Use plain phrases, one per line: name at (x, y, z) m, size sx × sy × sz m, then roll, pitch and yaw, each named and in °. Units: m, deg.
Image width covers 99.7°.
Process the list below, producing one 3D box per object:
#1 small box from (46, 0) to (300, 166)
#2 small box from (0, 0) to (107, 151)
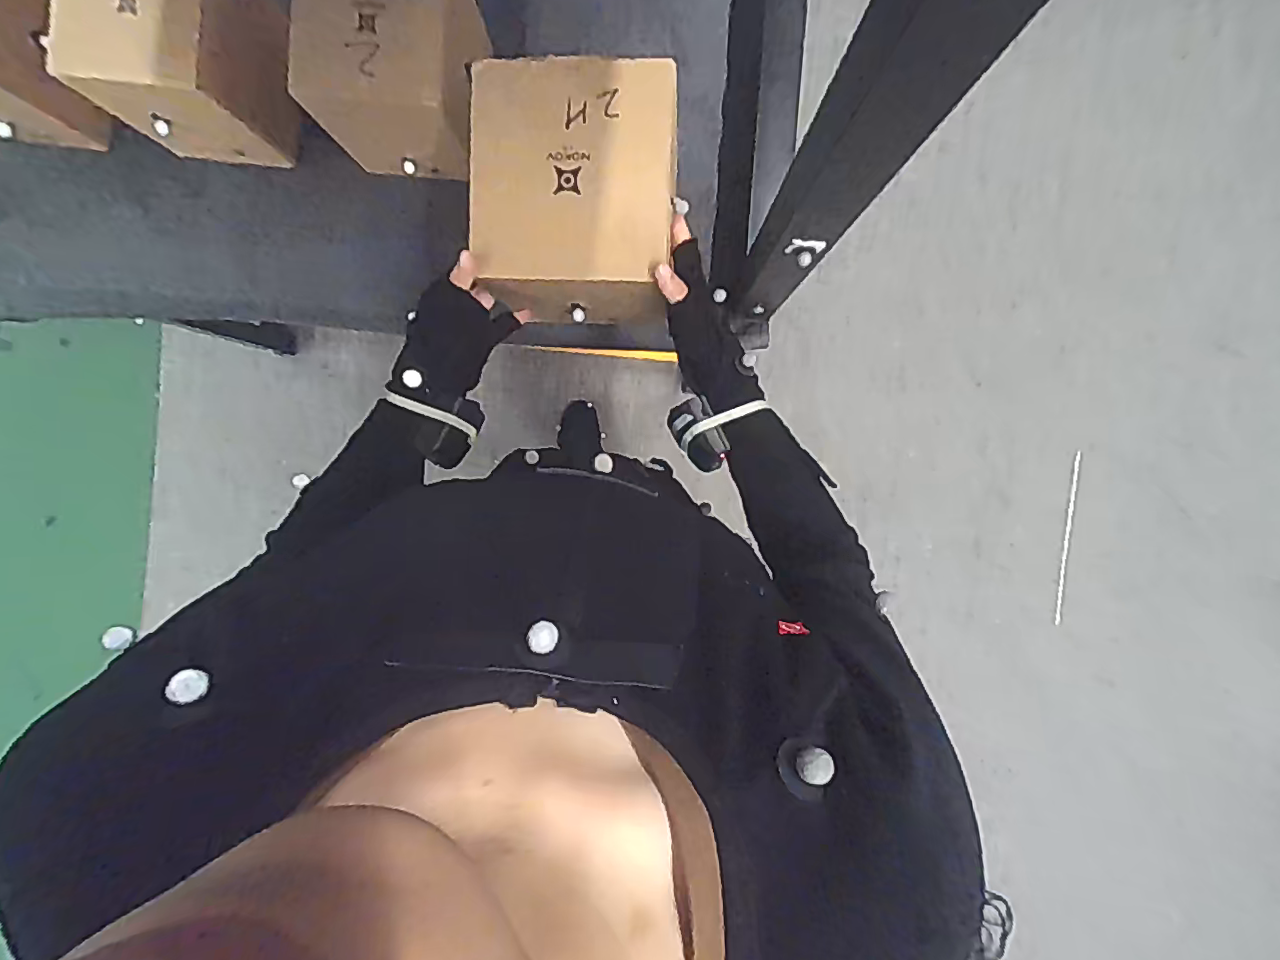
small box at (-0.546, -0.515, 0.656) m, size 0.168 × 0.176 × 0.179 m, roll 6°, pitch 92°, yaw 0°
small box at (-0.798, -0.540, 0.653) m, size 0.168 × 0.176 × 0.179 m, roll 7°, pitch 93°, yaw 0°
